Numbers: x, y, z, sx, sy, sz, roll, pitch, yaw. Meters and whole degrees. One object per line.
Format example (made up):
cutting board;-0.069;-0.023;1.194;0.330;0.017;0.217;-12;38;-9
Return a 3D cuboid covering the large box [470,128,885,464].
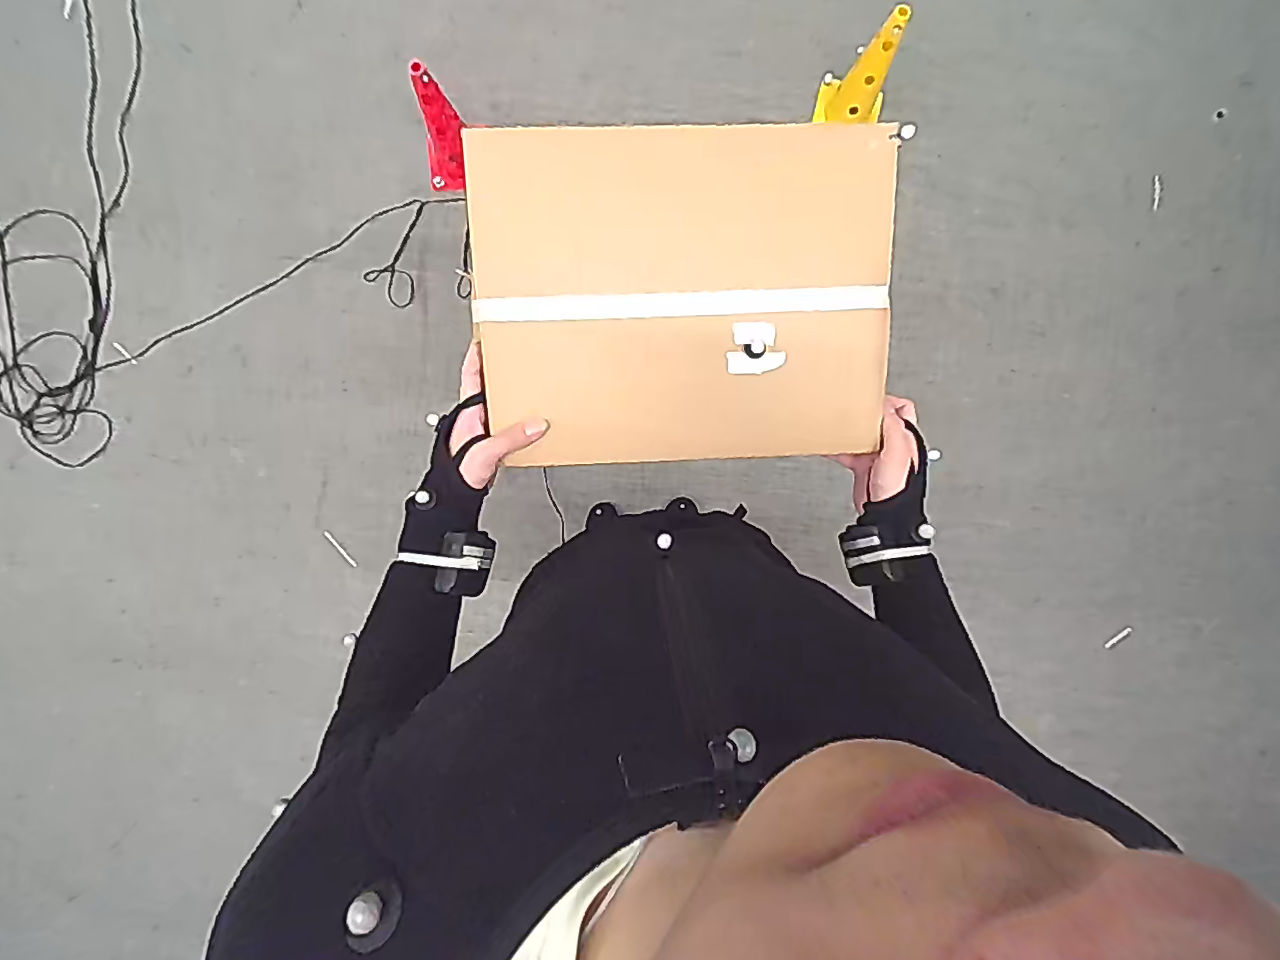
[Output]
large box;0.035;-0.206;0.684;0.408;0.320;0.320;-3;102;-3
